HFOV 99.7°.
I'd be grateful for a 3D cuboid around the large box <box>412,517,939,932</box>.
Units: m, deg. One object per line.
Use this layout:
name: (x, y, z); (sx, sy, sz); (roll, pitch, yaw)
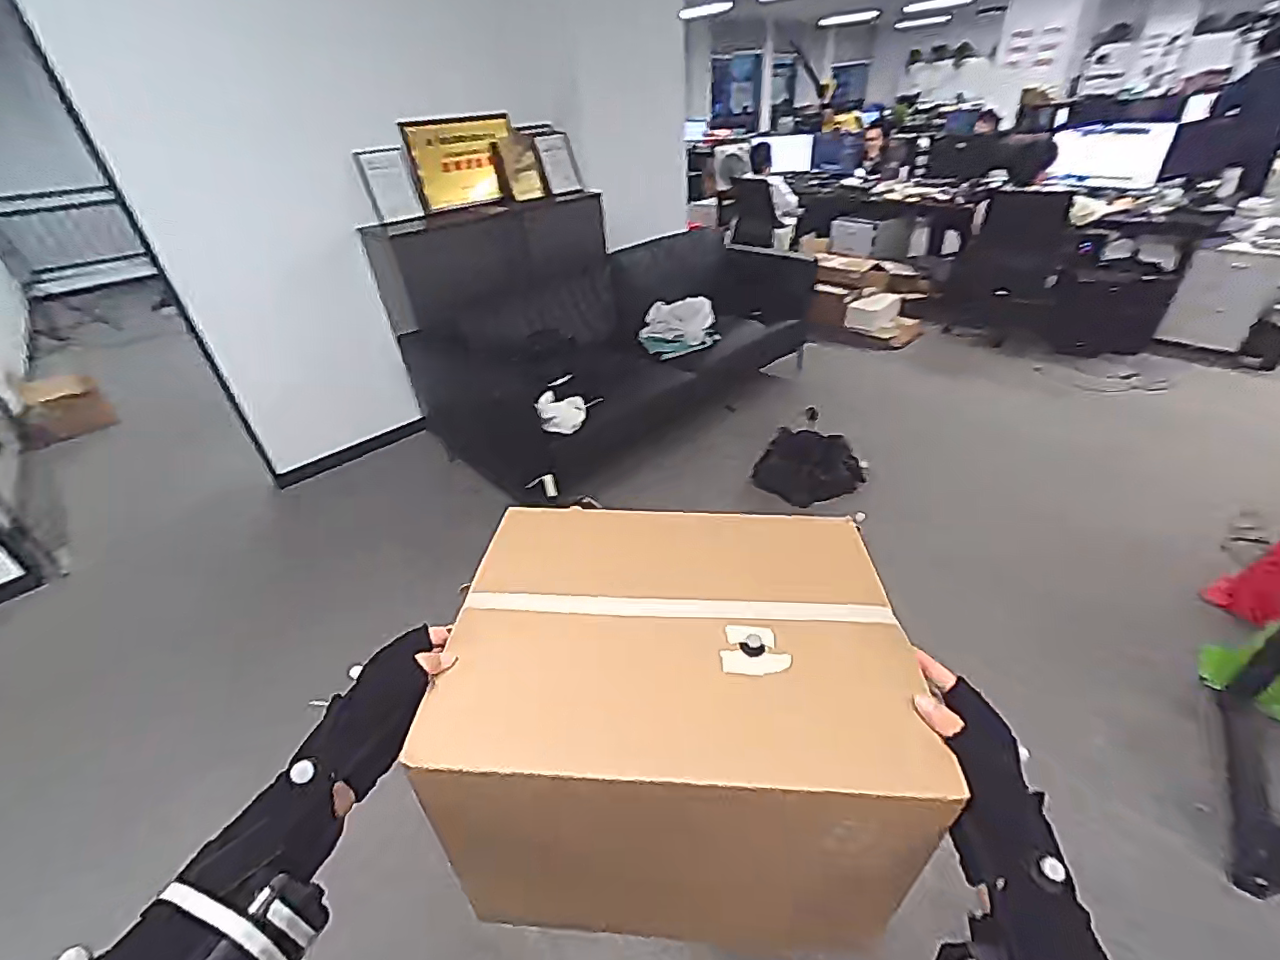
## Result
large box: (0.027, 0.255, 0.604); (0.408, 0.320, 0.320); (1, 34, 2)
